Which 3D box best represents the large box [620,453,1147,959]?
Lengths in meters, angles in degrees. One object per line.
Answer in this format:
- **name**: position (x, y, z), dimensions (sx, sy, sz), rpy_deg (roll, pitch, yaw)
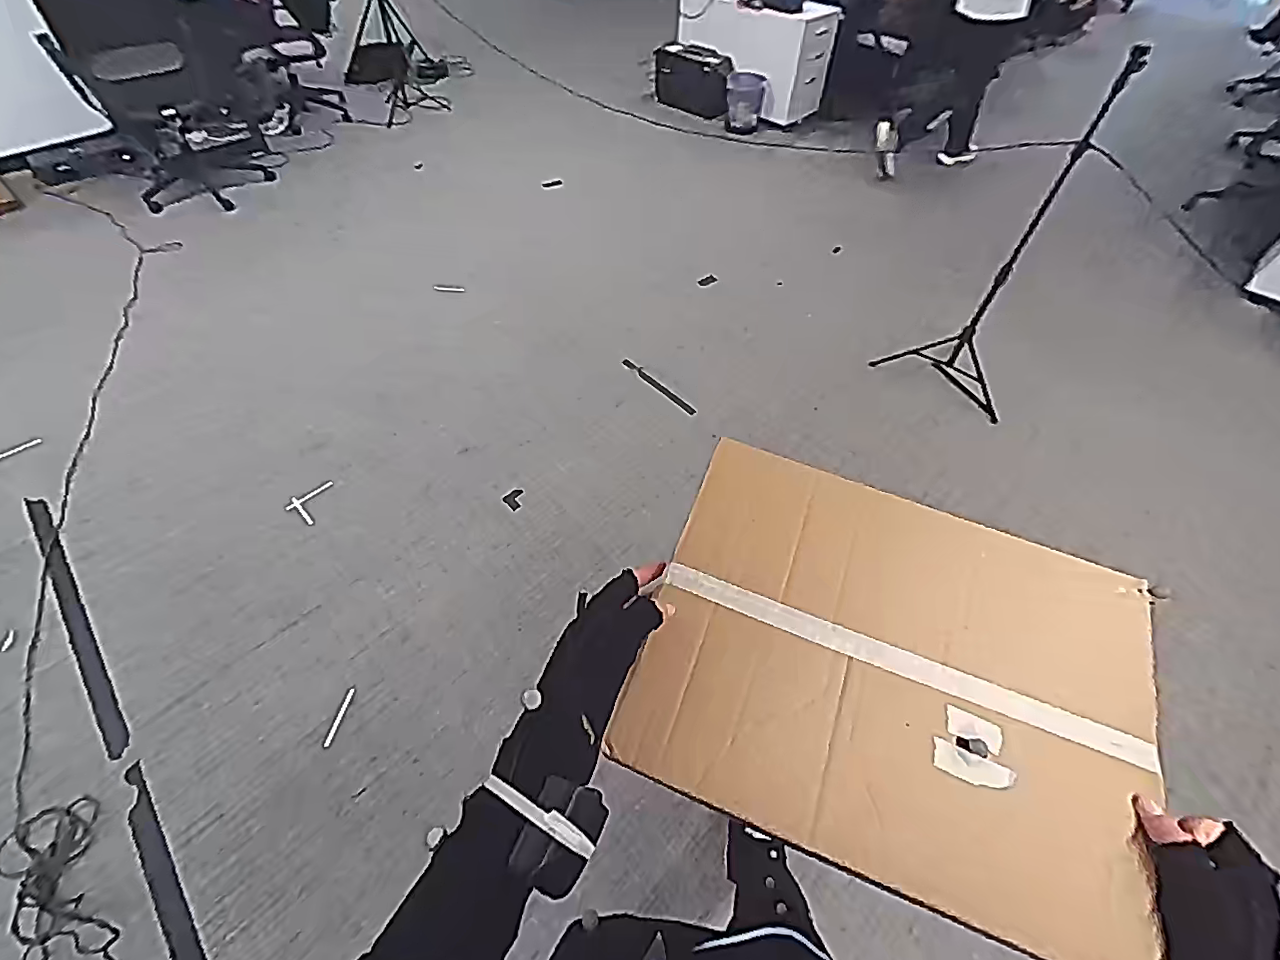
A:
- **large box**: position (0.216, 0.228, 0.599), dimensions (0.408, 0.320, 0.320), rpy_deg (20, 64, 10)
